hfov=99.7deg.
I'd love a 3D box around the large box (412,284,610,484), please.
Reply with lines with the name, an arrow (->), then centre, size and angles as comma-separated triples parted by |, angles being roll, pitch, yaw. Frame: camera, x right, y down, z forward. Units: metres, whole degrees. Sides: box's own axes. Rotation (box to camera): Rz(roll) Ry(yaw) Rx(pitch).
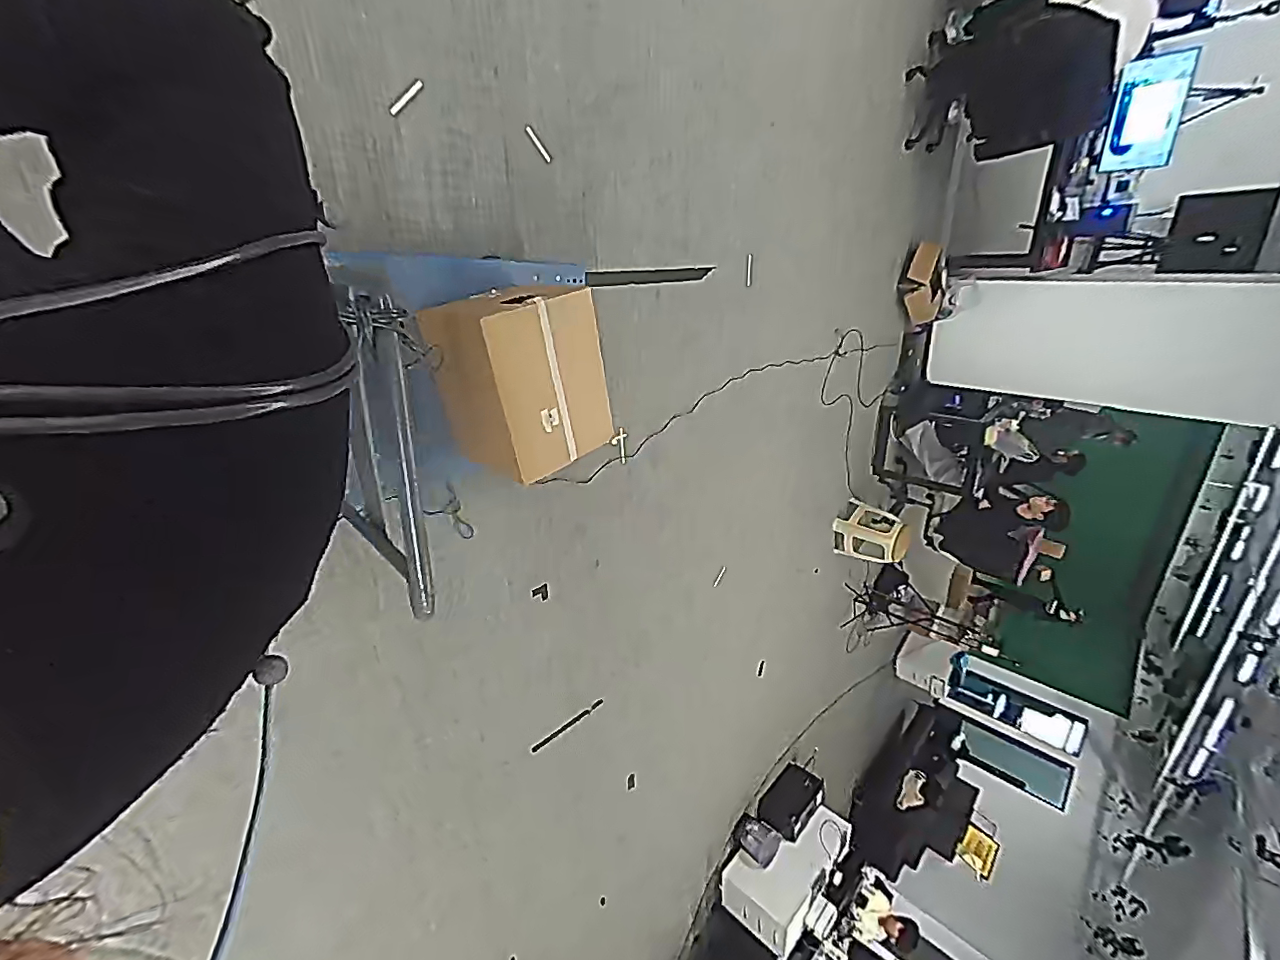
large box -> -0.317, -0.262, 1.384 | 0.320, 0.320, 0.408 | -31, 126, -36
